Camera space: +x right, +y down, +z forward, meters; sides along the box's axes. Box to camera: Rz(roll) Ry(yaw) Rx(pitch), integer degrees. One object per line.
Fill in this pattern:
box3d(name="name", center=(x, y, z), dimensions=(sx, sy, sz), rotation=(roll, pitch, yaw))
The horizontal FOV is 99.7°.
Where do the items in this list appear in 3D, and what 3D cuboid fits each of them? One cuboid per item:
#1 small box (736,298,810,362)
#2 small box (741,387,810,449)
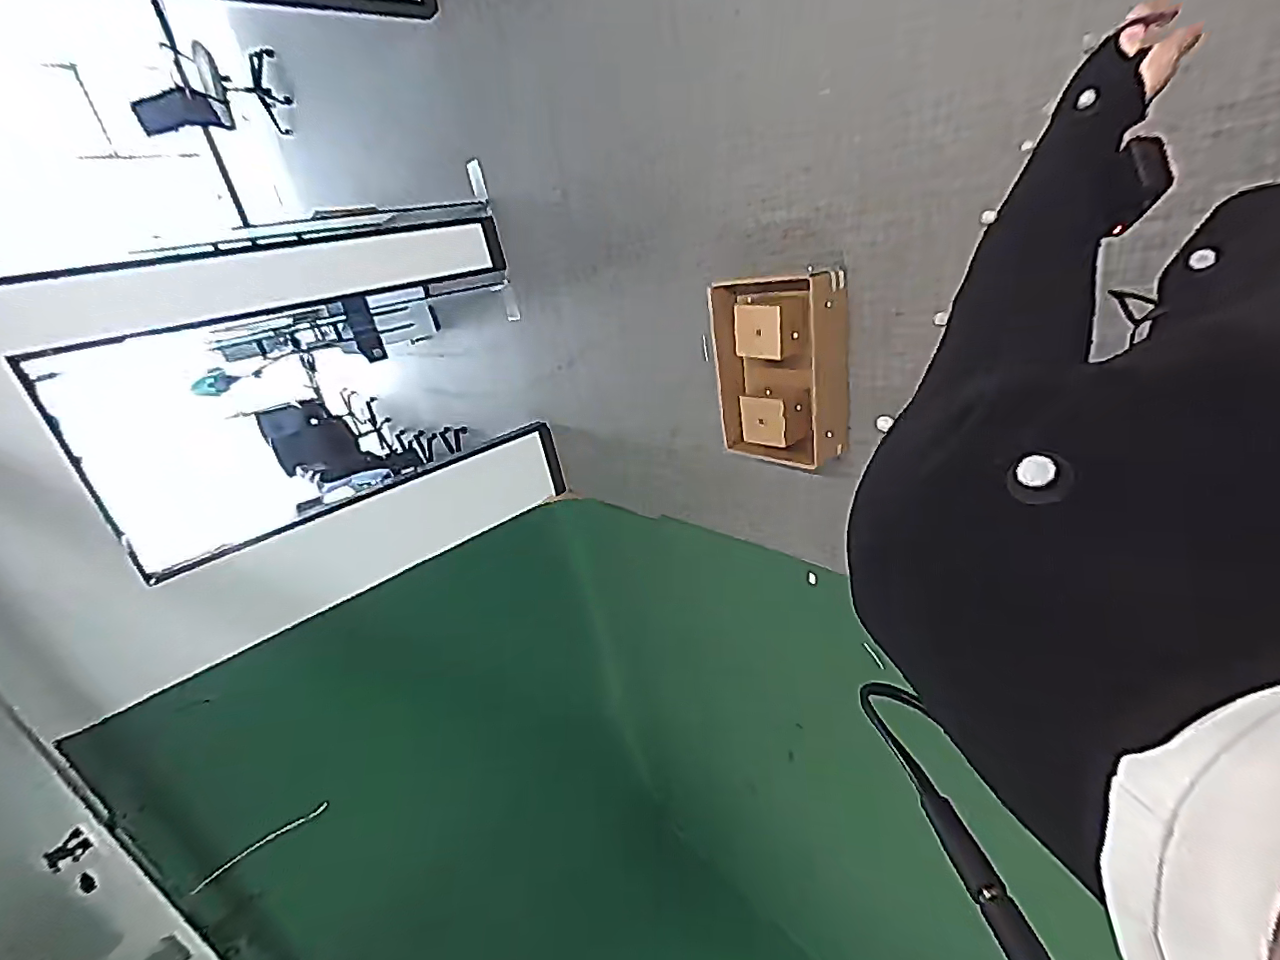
box3d(name="small box", center=(0.435, -0.494, 1.759), dimensions=(0.179, 0.176, 0.168), rotation=(21, 128, 45))
box3d(name="small box", center=(0.476, -0.221, 1.880), dimensions=(0.179, 0.176, 0.168), rotation=(17, 123, 47))
